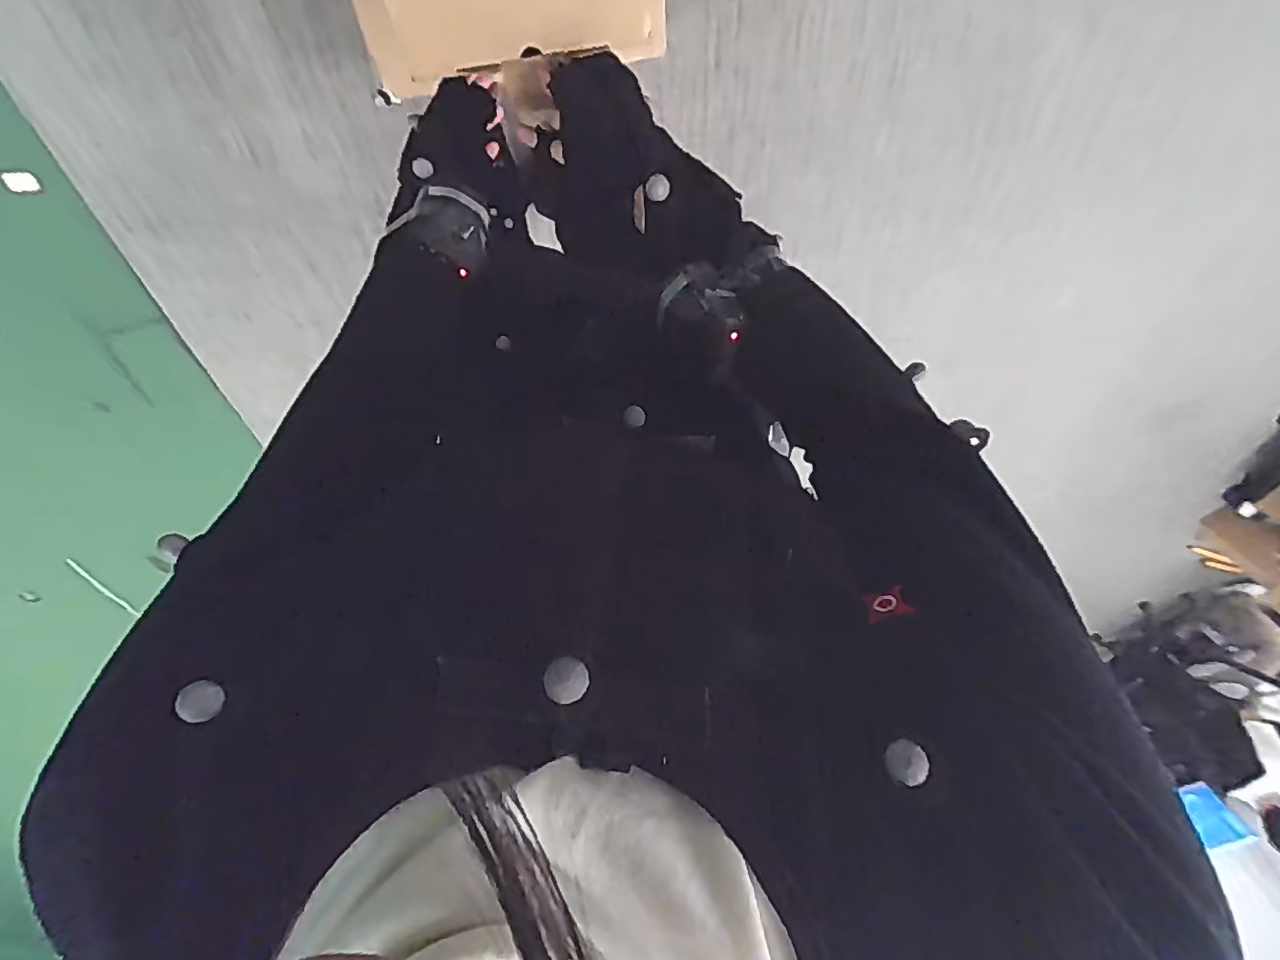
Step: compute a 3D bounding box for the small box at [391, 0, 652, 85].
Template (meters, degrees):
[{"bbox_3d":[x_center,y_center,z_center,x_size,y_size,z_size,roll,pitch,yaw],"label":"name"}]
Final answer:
[{"bbox_3d":[-0.093,-0.398,0.358,0.168,0.176,0.179,-13,138,-2],"label":"small box"}]
